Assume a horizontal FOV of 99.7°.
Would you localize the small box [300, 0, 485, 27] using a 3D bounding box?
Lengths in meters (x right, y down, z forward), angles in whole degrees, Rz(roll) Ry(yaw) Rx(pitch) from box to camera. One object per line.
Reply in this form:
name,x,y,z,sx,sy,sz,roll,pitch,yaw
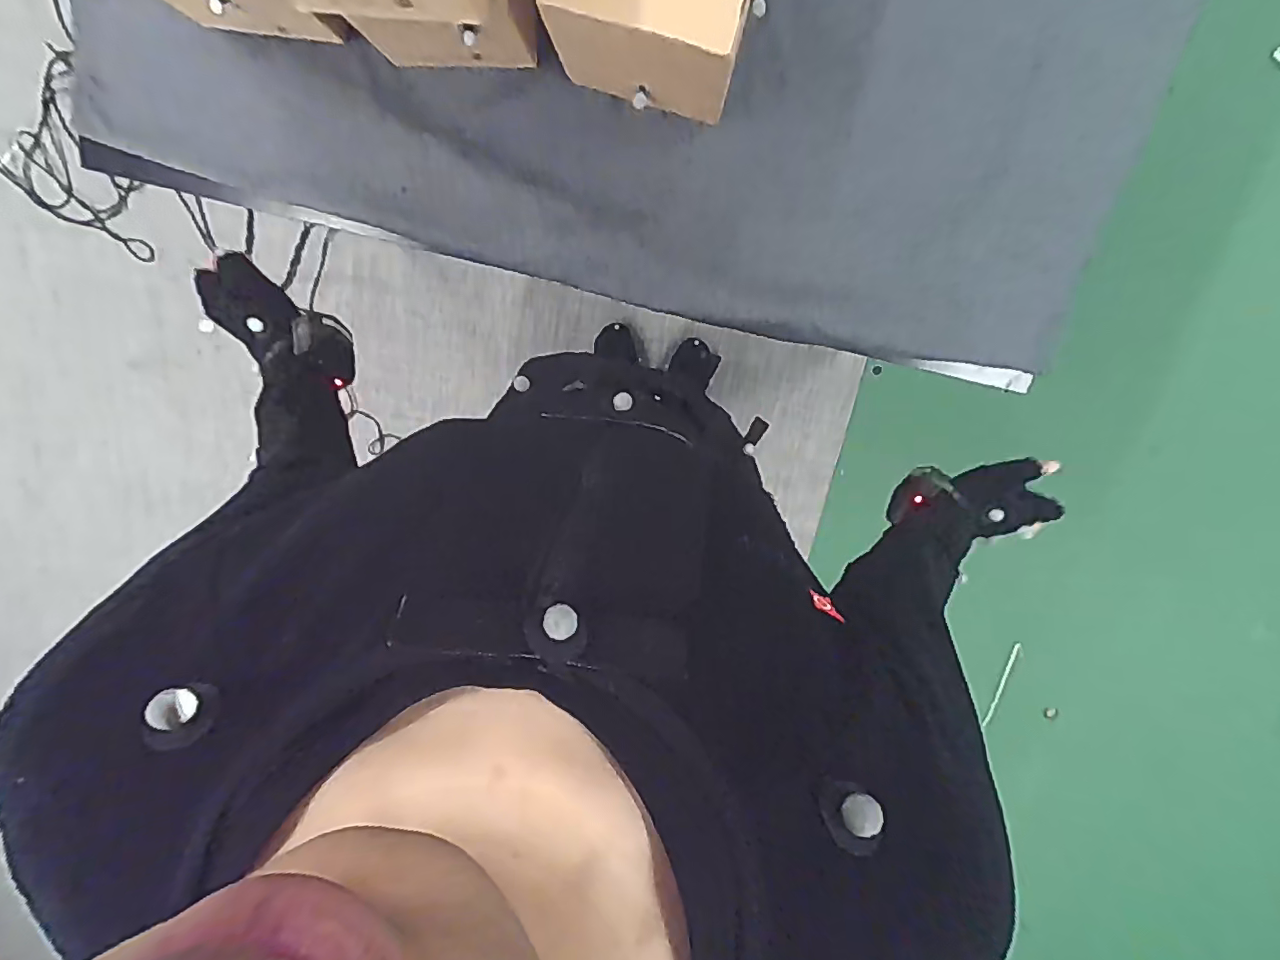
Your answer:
small box,-0.208,-0.450,0.365,0.168,0.176,0.179,4,106,1
